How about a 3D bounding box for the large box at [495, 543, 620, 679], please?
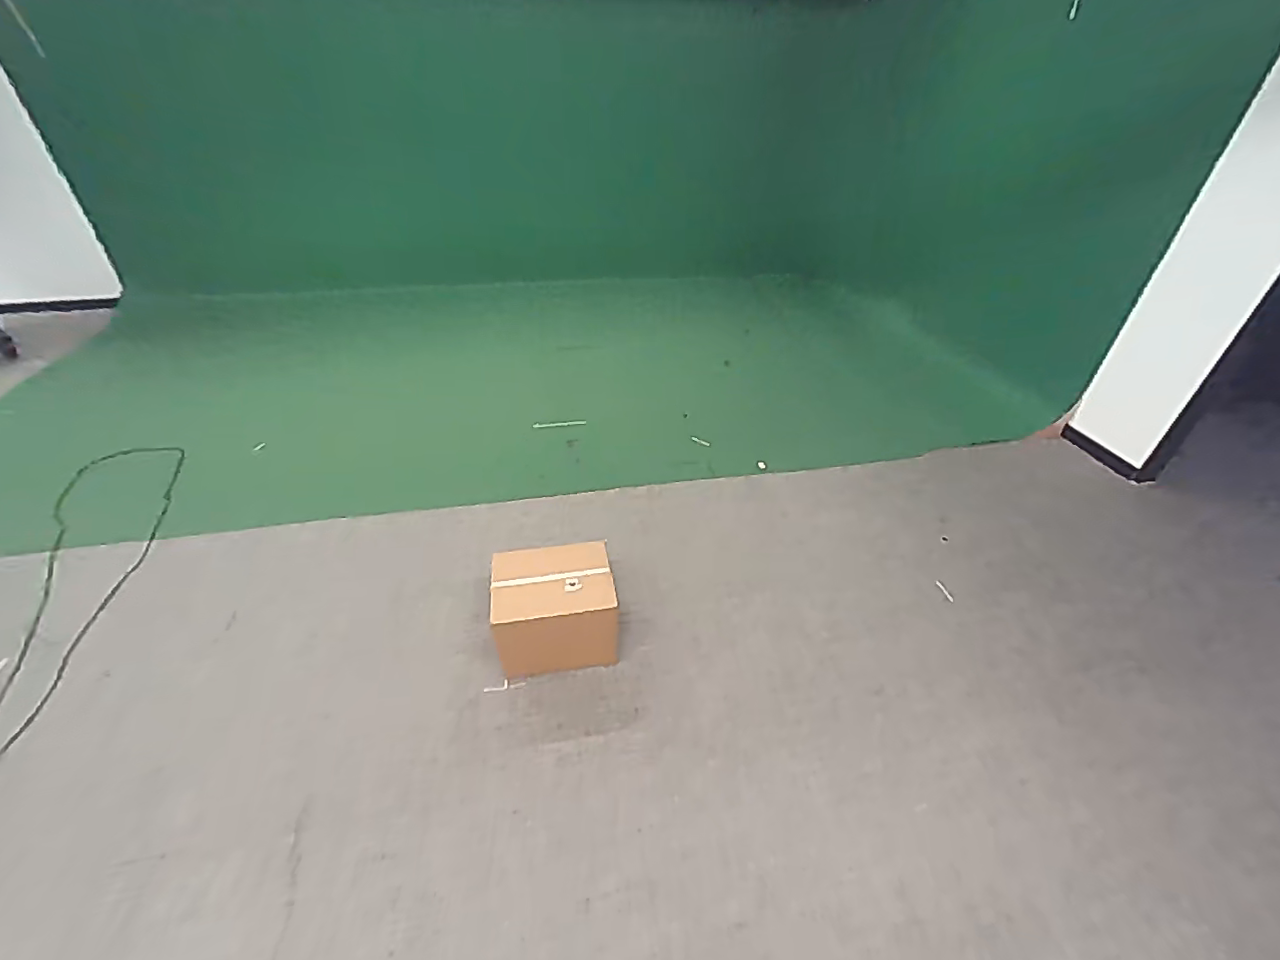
[{"bbox_3d":[-0.292,0.461,1.916,0.408,0.320,0.320,-6,38,-9],"label":"large box"}]
